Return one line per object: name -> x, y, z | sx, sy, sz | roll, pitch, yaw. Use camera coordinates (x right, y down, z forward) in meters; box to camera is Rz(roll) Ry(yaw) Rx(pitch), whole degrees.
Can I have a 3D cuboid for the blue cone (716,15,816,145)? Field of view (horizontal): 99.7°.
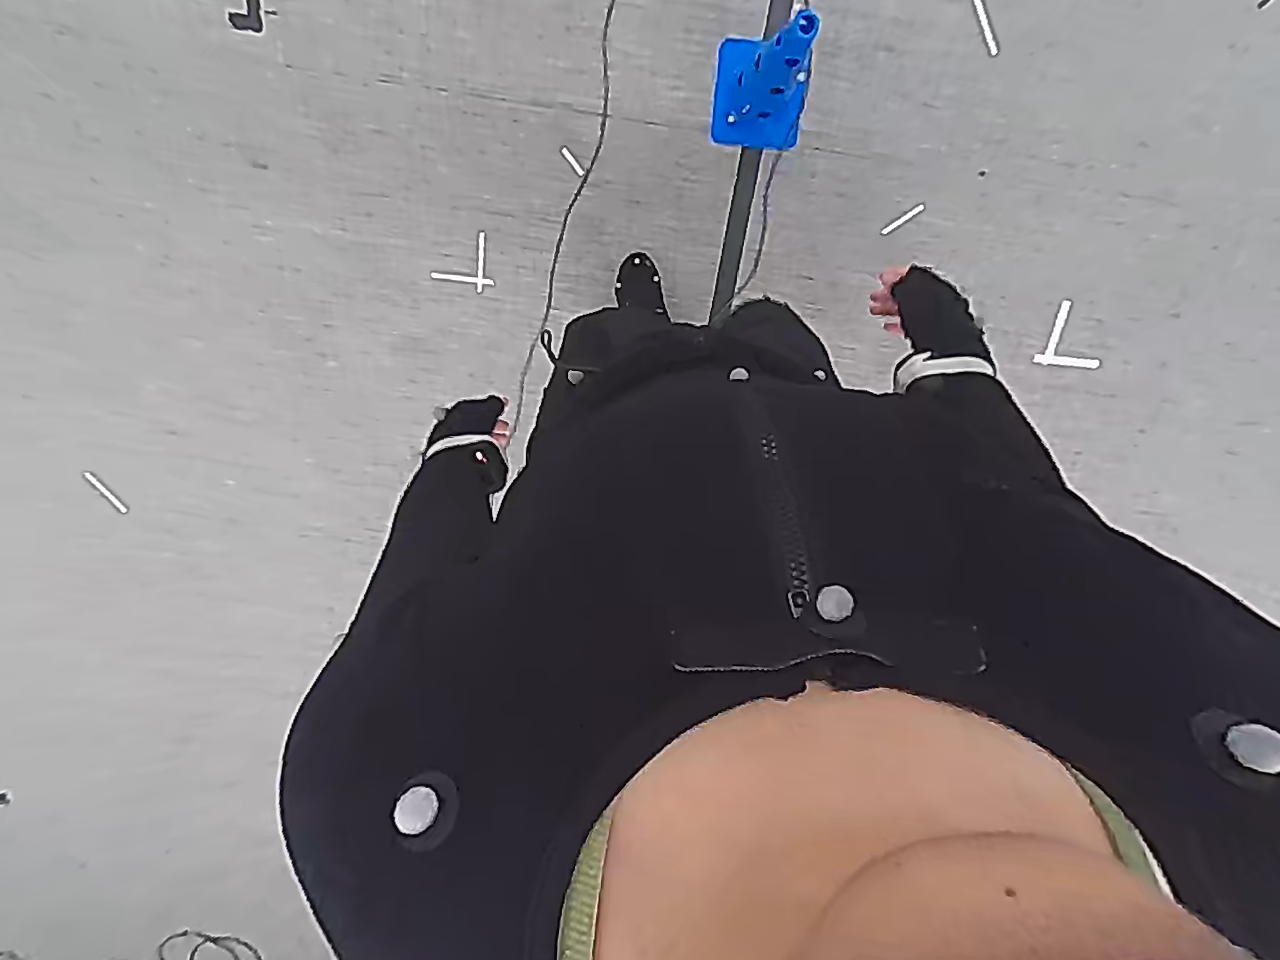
blue cone -> 0.269, -0.784, 1.029 | 0.192, 0.380, 0.193 | 3, 111, -2
